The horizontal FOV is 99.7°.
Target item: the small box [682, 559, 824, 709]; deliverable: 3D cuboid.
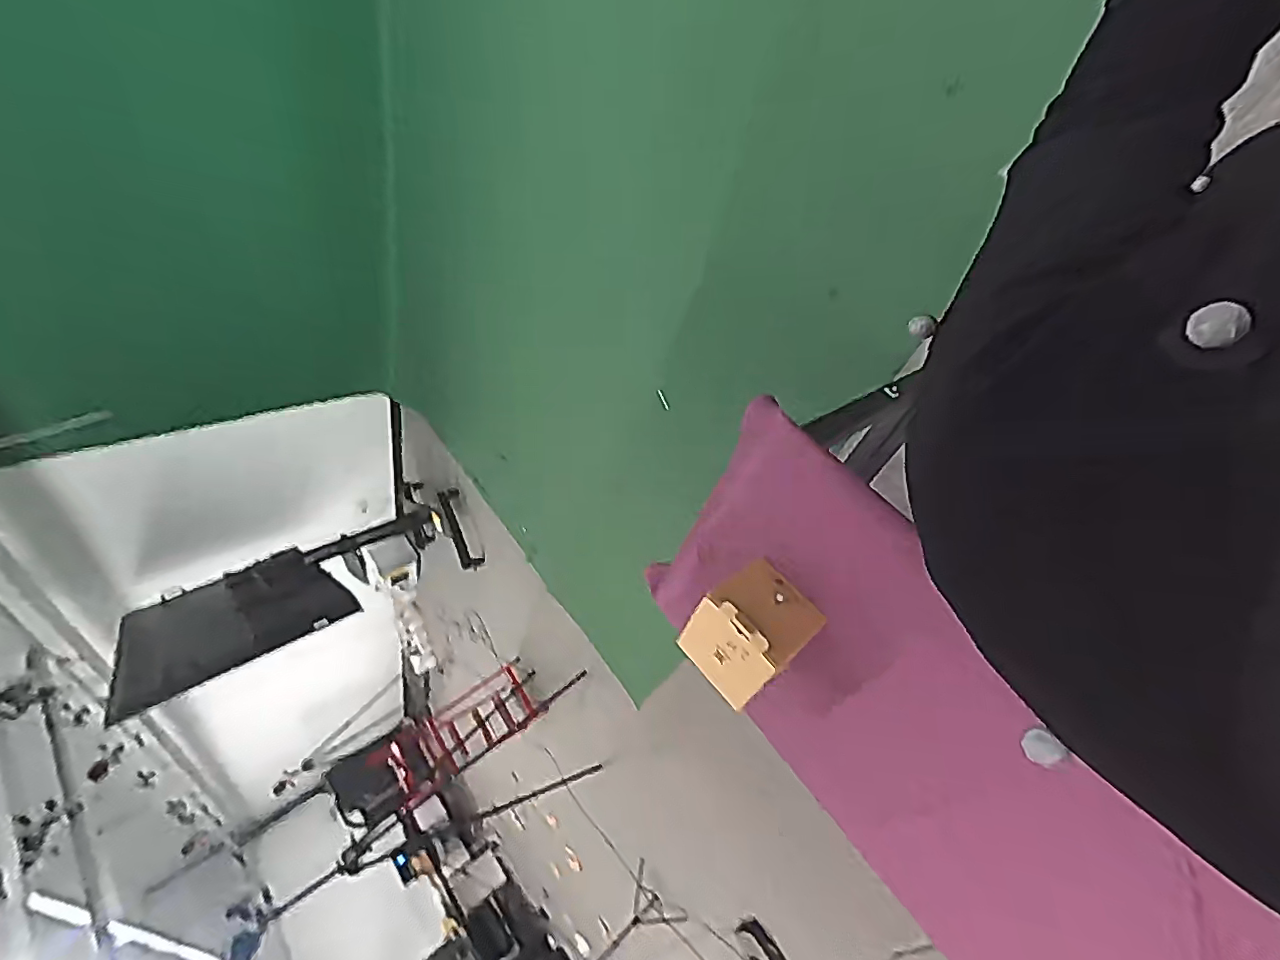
[{"bbox_3d":[0.212,0.283,1.012,0.168,0.176,0.179,44,137,24],"label":"small box"}]
